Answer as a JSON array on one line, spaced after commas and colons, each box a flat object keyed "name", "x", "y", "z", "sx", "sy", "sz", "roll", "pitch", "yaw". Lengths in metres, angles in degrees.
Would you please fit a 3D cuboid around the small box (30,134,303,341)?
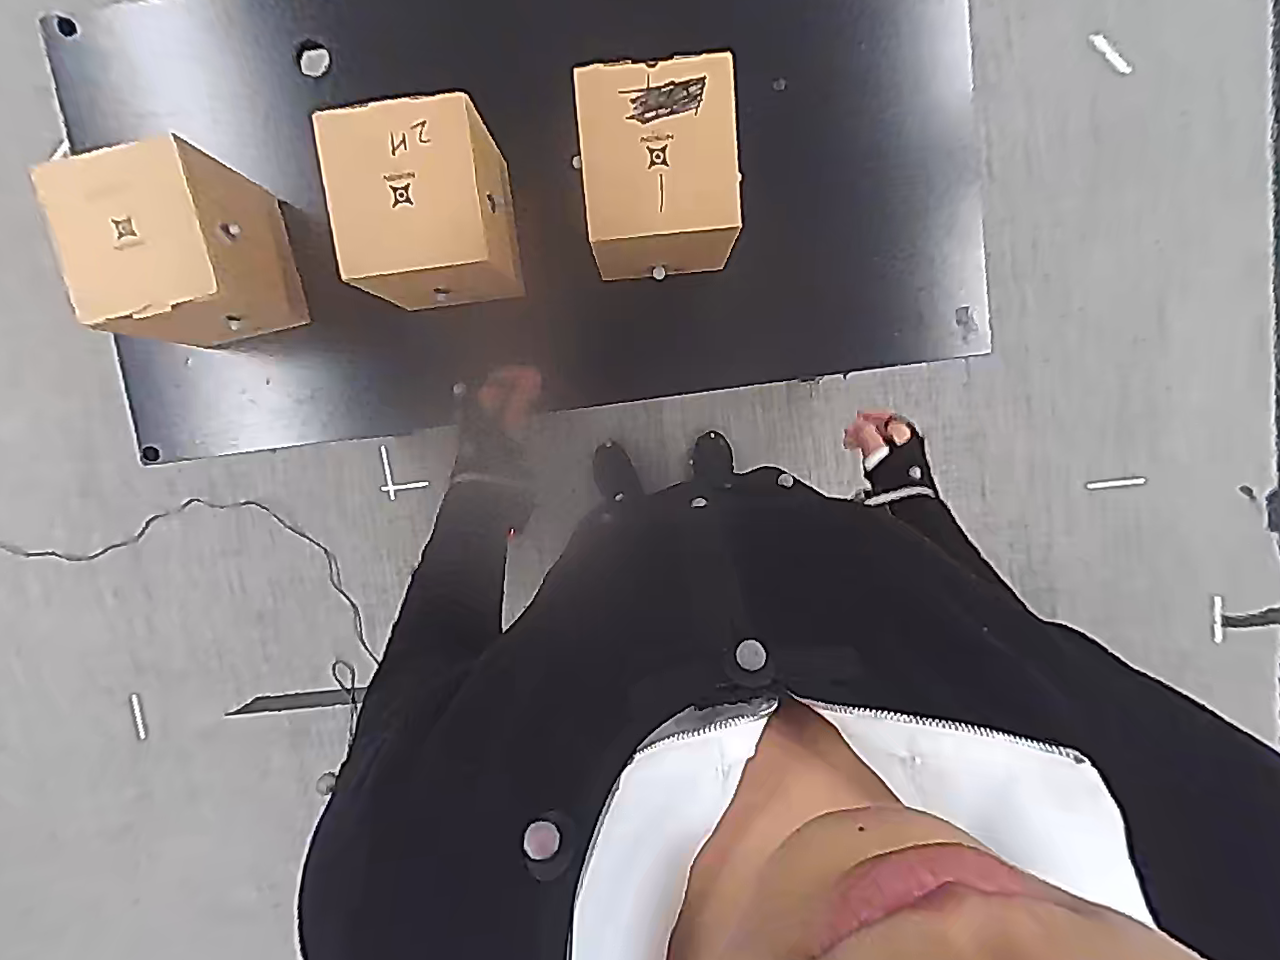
[{"name": "small box", "x": -0.558, "y": -0.277, "z": 0.667, "sx": 0.168, "sy": 0.176, "sz": 0.179, "roll": -13, "pitch": 95, "yaw": 1}]

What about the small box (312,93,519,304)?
[{"name": "small box", "x": -0.253, "y": -0.319, "z": 0.654, "sx": 0.168, "sy": 0.176, "sz": 0.179, "roll": -7, "pitch": 96, "yaw": 1}]

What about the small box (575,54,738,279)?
[{"name": "small box", "x": 0.019, "y": -0.356, "z": 0.645, "sx": 0.168, "sy": 0.176, "sz": 0.179, "roll": -4, "pitch": 97, "yaw": 2}]
